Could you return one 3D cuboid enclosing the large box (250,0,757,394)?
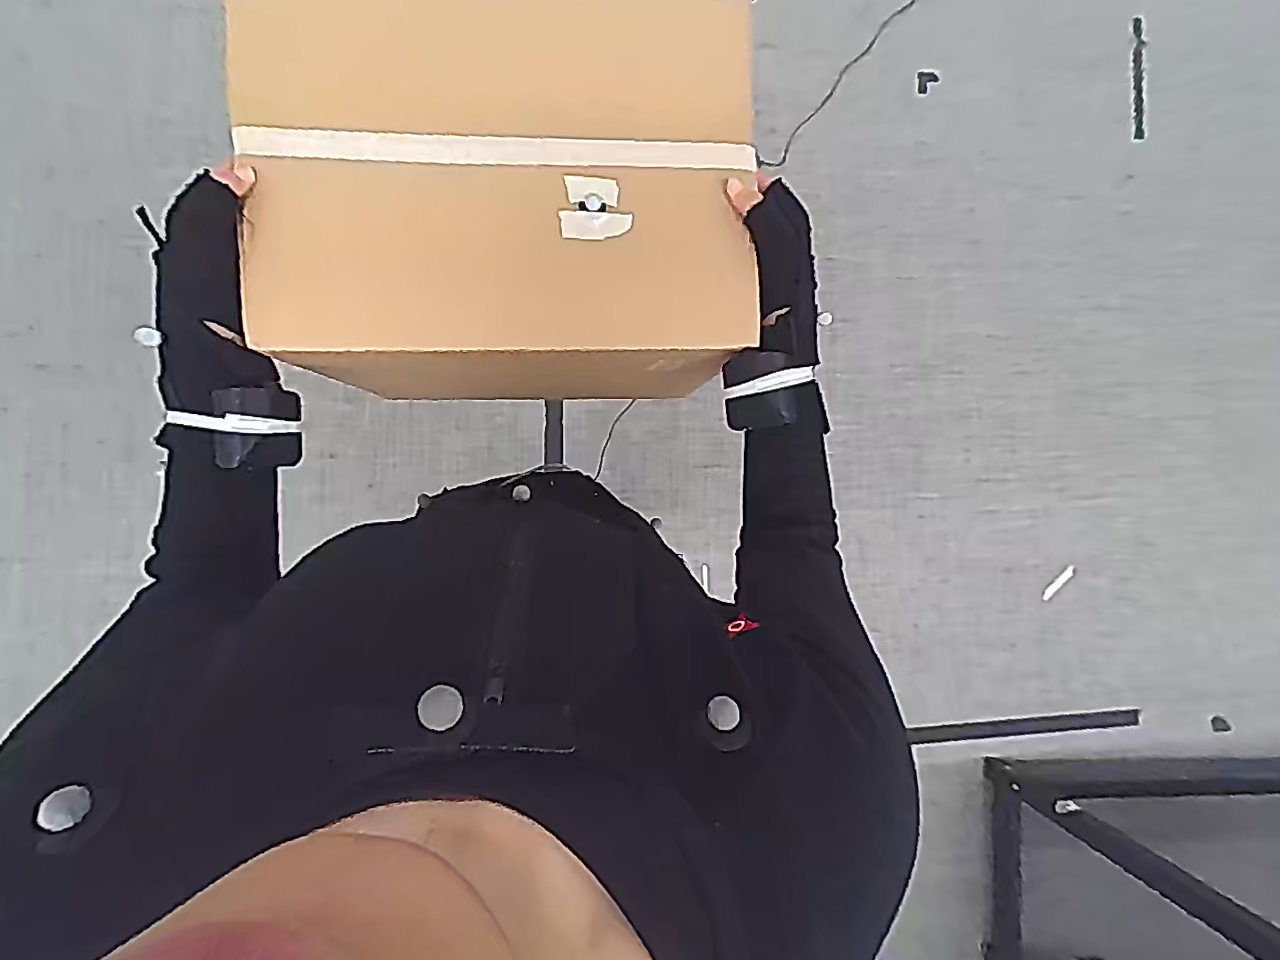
[{"bbox_3d":[-0.120,-0.272,0.590,0.408,0.320,0.320,-2,92,-7],"label":"large box"}]
